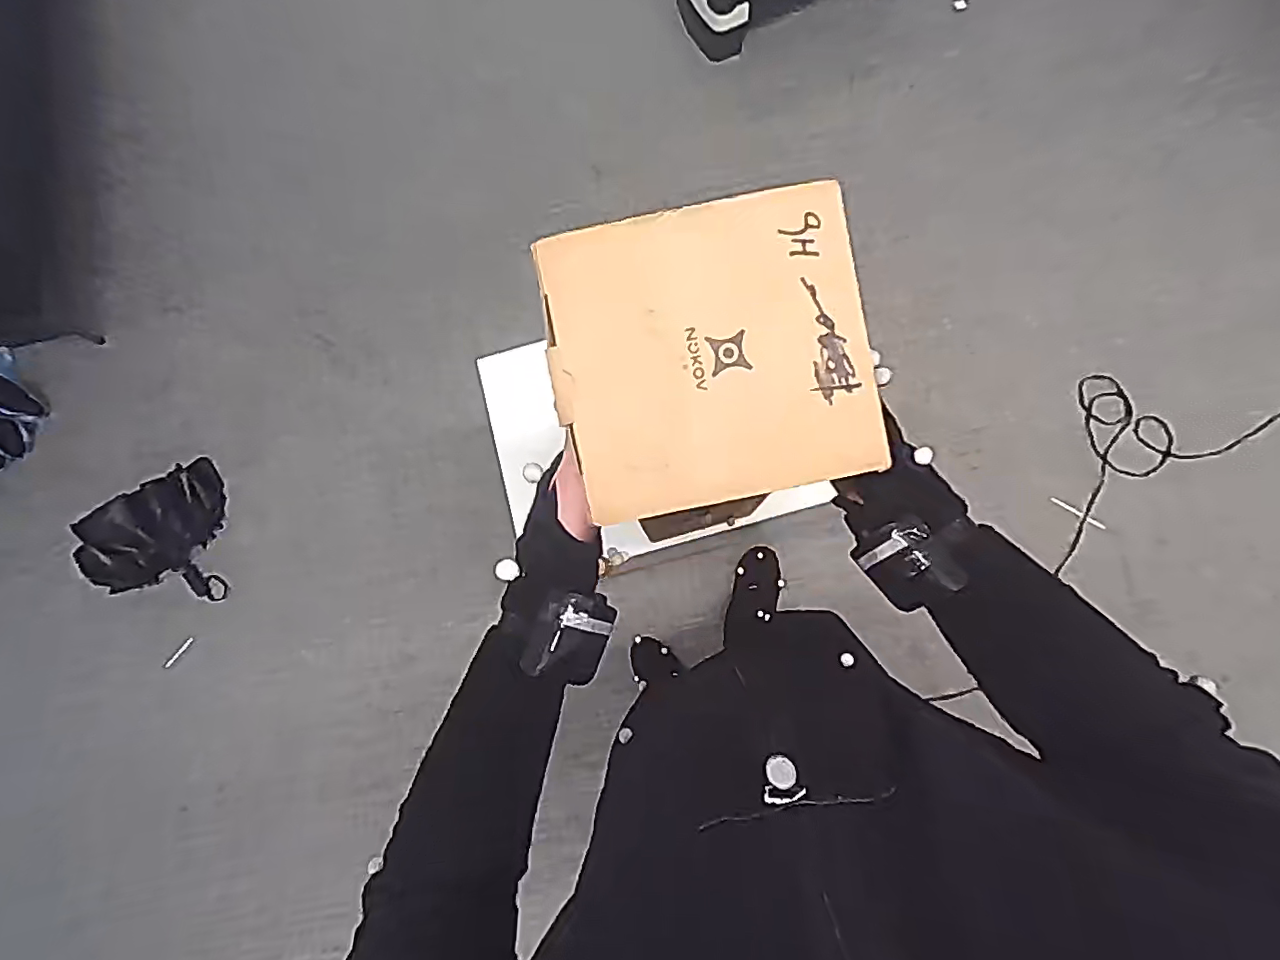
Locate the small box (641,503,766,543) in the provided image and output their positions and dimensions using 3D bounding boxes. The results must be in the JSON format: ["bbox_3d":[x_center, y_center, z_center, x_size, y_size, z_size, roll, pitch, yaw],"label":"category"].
[{"bbox_3d":[0.071,-0.011,0.792,0.168,0.176,0.179,-16,76,0],"label":"small box"}]

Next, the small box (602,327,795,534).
[{"bbox_3d":[0.060,-0.046,0.632,0.168,0.176,0.179,-15,79,1],"label":"small box"}]
